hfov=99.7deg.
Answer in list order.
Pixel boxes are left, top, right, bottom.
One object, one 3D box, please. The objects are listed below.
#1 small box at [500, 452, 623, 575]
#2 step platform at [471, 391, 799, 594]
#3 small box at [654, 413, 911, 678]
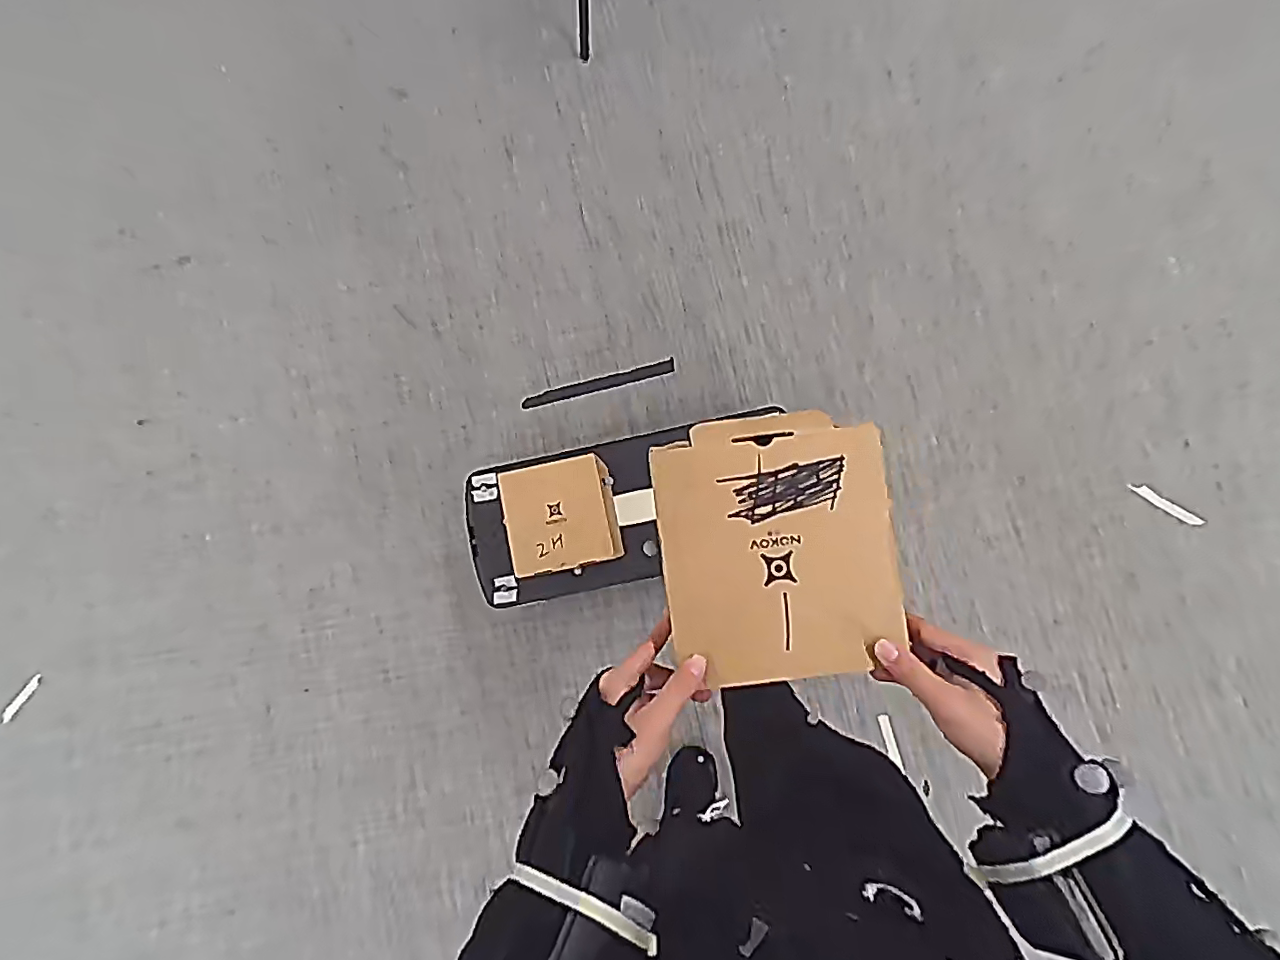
[{"bbox_3d":[-0.130,0.062,0.950,0.168,0.176,0.179,-12,84,3],"label":"small box"},{"bbox_3d":[0.008,0.031,1.120,0.684,0.204,0.286,-13,83,3],"label":"step platform"},{"bbox_3d":[0.102,0.050,0.465,0.168,0.176,0.179,-7,87,2],"label":"small box"}]
